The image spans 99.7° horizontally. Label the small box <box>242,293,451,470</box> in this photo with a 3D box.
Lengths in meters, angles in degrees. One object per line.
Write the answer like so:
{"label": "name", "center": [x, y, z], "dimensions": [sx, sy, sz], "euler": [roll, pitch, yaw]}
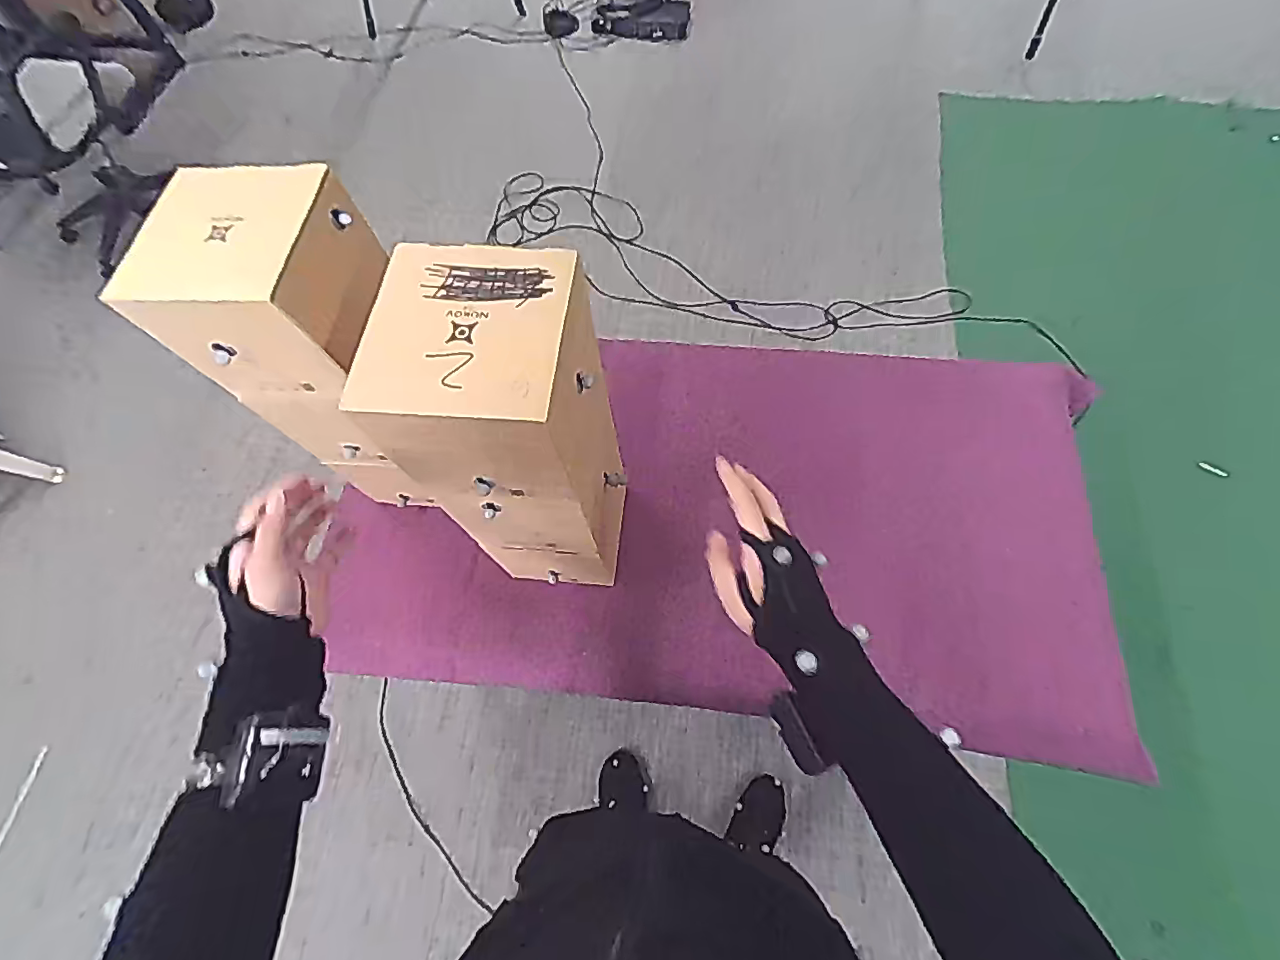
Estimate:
{"label": "small box", "center": [-0.376, -0.131, 0.733], "dimensions": [0.168, 0.176, 0.179], "euler": [3, 67, 6]}

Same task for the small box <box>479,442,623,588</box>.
{"label": "small box", "center": [-0.120, 0.051, 0.812], "dimensions": [0.168, 0.176, 0.179], "euler": [4, 66, 6]}

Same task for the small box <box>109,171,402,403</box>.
{"label": "small box", "center": [-0.387, -0.198, 0.585], "dimensions": [0.168, 0.176, 0.179], "euler": [2, 65, 6]}

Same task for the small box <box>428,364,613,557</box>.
{"label": "small box", "center": [-0.129, -0.019, 0.665], "dimensions": [0.168, 0.176, 0.179], "euler": [4, 66, 6]}

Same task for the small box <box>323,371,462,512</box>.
{"label": "small box", "center": [-0.367, -0.062, 0.881], "dimensions": [0.168, 0.176, 0.179], "euler": [3, 66, 6]}
